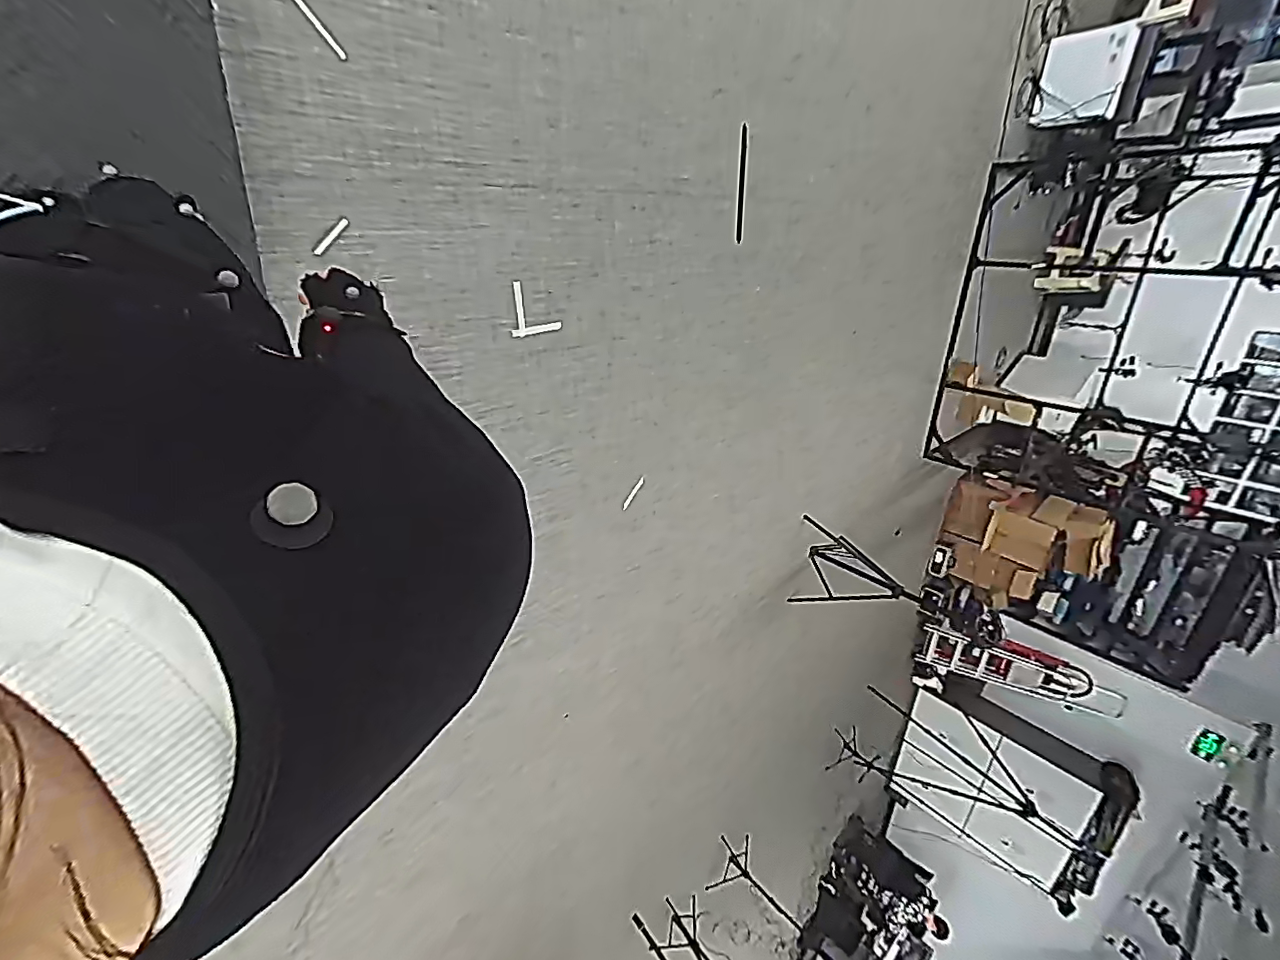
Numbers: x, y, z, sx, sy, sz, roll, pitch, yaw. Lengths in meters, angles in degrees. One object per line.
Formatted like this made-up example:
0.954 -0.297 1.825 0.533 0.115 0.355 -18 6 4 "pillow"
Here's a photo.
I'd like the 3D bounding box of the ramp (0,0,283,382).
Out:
-0.944 -0.657 0.850 0.509 0.206 0.991 -21 122 -37 "ramp"
